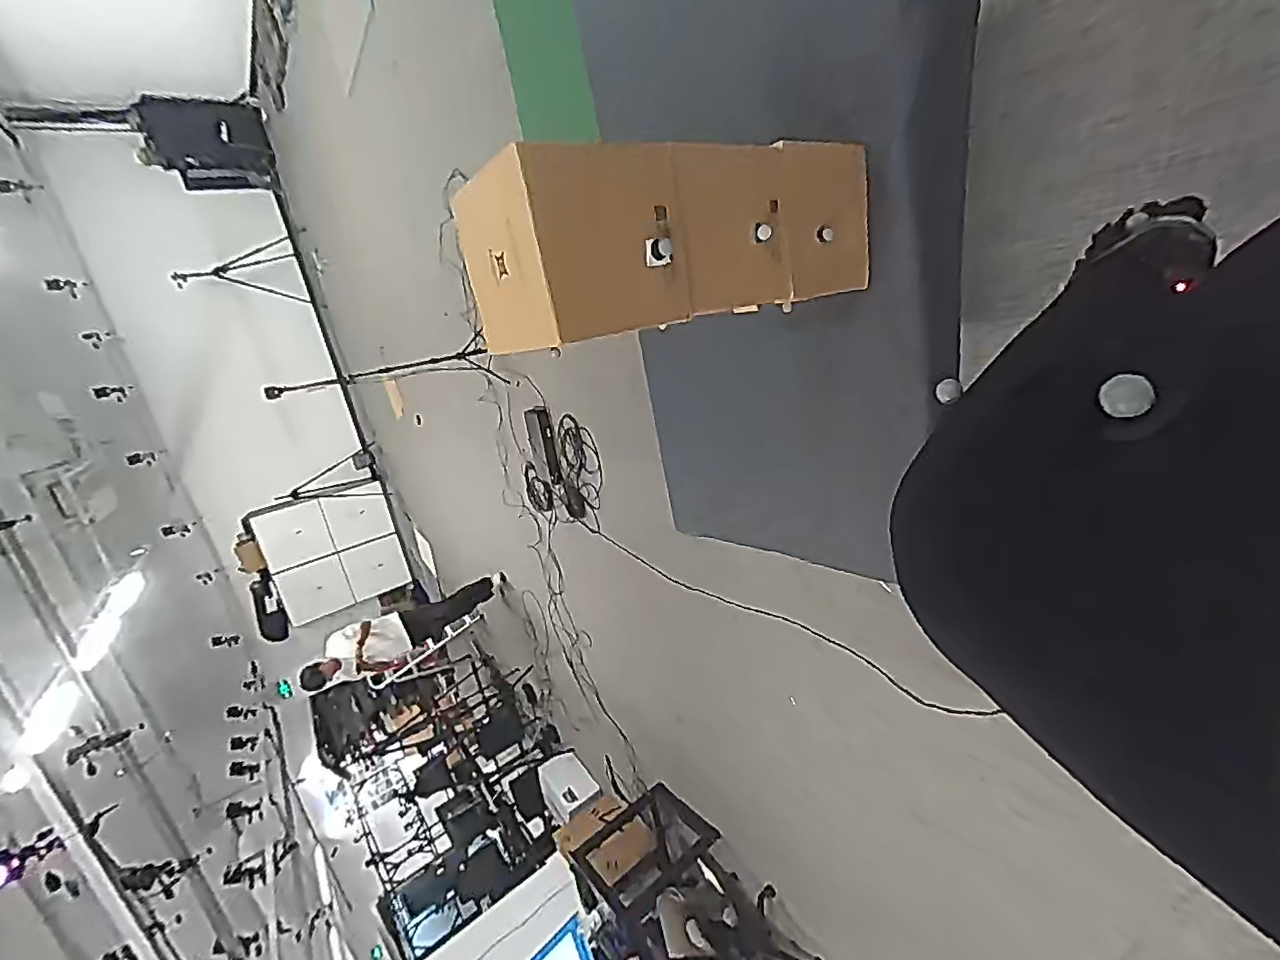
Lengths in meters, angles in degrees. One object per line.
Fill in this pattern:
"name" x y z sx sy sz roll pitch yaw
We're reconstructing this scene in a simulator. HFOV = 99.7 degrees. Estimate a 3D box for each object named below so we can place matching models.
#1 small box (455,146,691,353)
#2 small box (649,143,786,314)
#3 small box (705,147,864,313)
"small box" -0.071 -0.236 0.579 0.179 0.176 0.168 12 119 53
"small box" 0.053 -0.292 0.667 0.179 0.176 0.168 13 119 56
"small box" 0.189 -0.339 0.746 0.168 0.176 0.179 15 121 53
